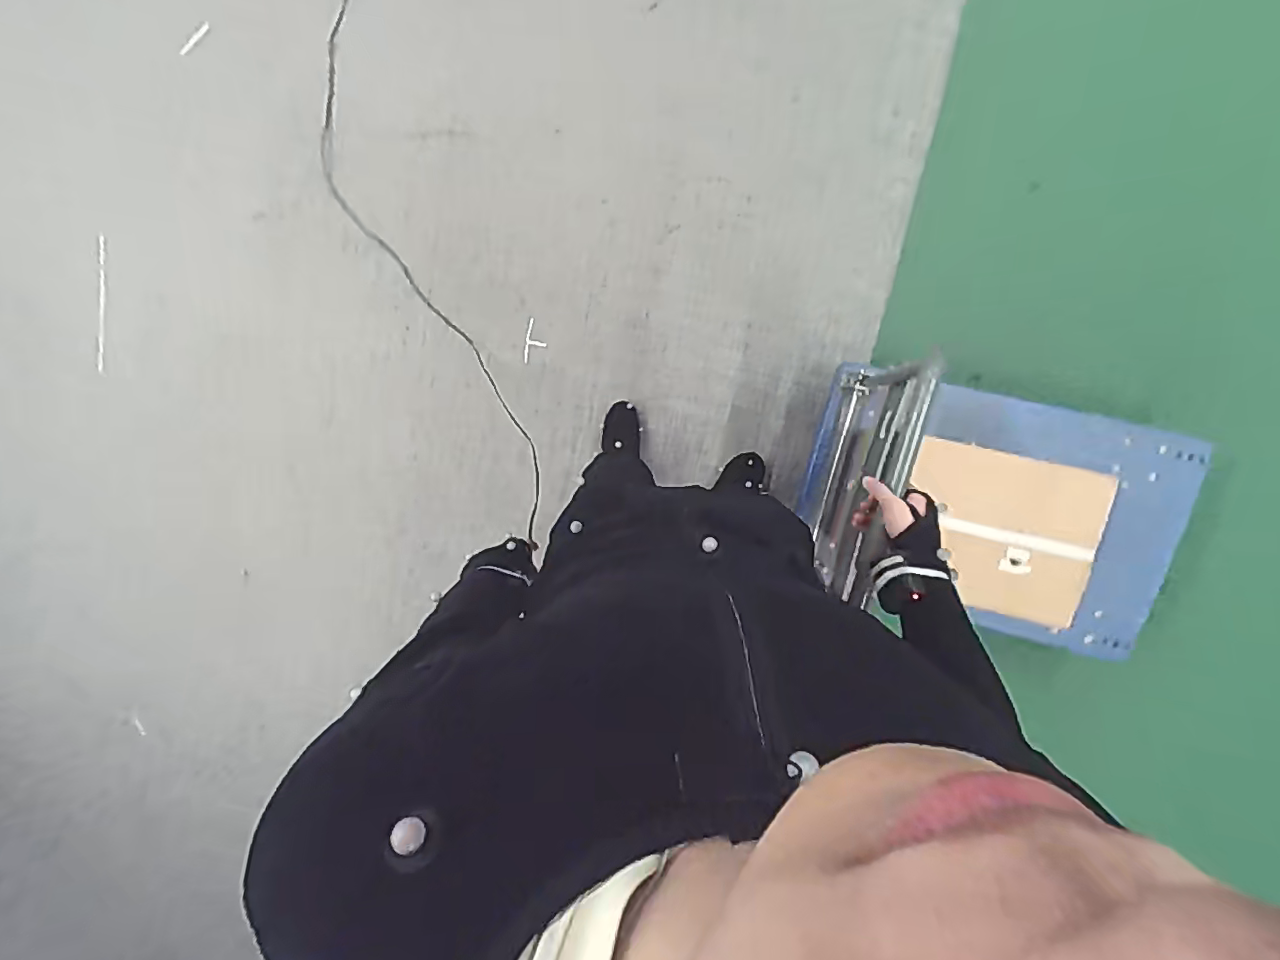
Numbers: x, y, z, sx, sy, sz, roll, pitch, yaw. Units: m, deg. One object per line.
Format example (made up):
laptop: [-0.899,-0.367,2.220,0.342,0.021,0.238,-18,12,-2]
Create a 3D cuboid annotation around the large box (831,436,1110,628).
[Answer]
large box: [0.697,0.090,1.221,0.408,0.320,0.320,14,98,6]
